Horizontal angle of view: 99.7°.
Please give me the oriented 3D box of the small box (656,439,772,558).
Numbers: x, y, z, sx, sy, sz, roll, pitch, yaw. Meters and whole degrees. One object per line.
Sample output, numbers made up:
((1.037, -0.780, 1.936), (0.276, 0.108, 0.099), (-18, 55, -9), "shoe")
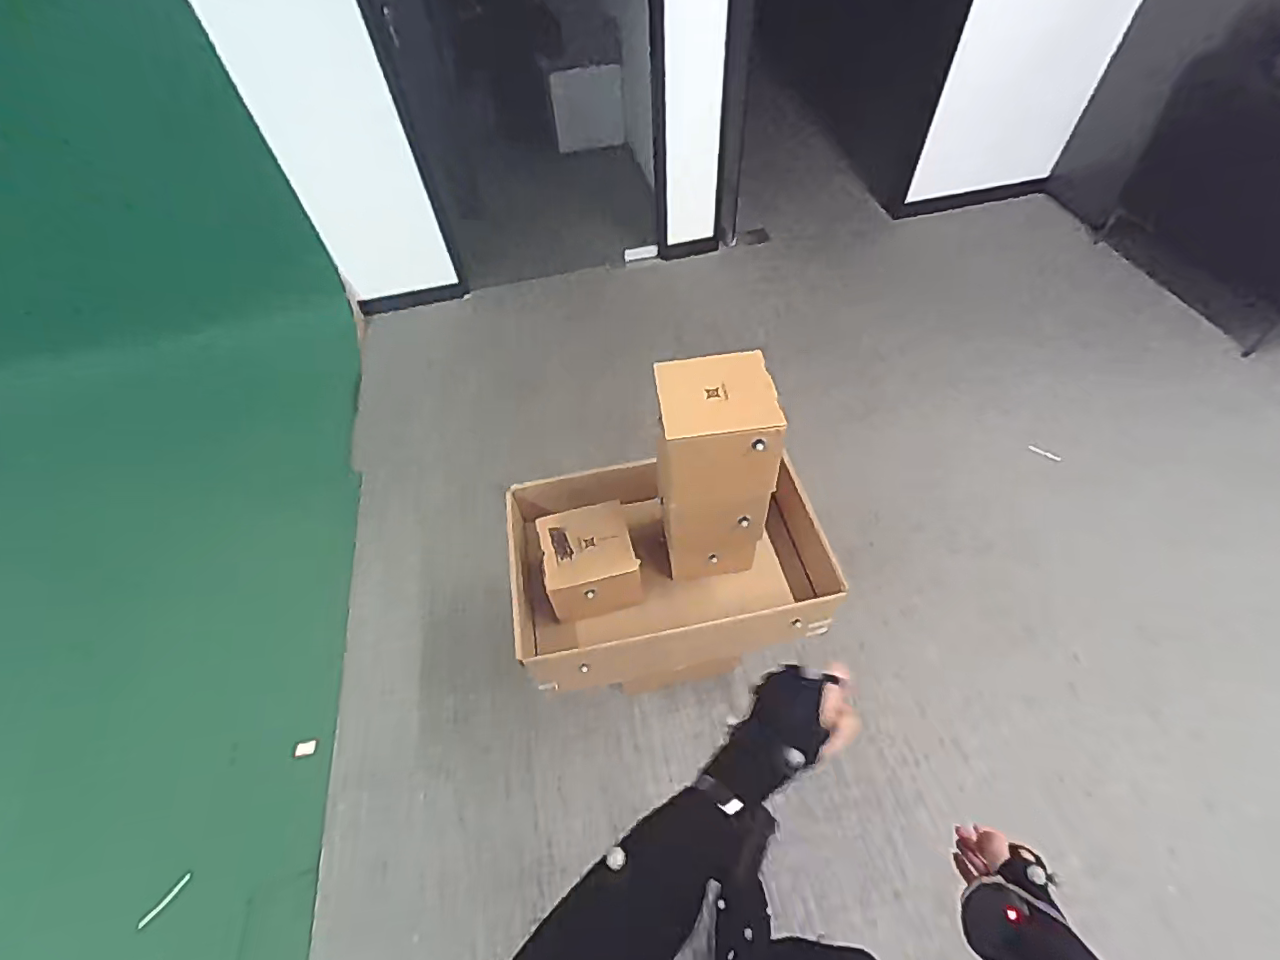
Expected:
((0.129, 0.027, 0.997), (0.179, 0.176, 0.168), (-9, 53, 0), "small box")

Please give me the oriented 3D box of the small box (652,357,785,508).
((0.119, -0.070, 0.868), (0.179, 0.176, 0.168), (-7, 53, 0), "small box")
